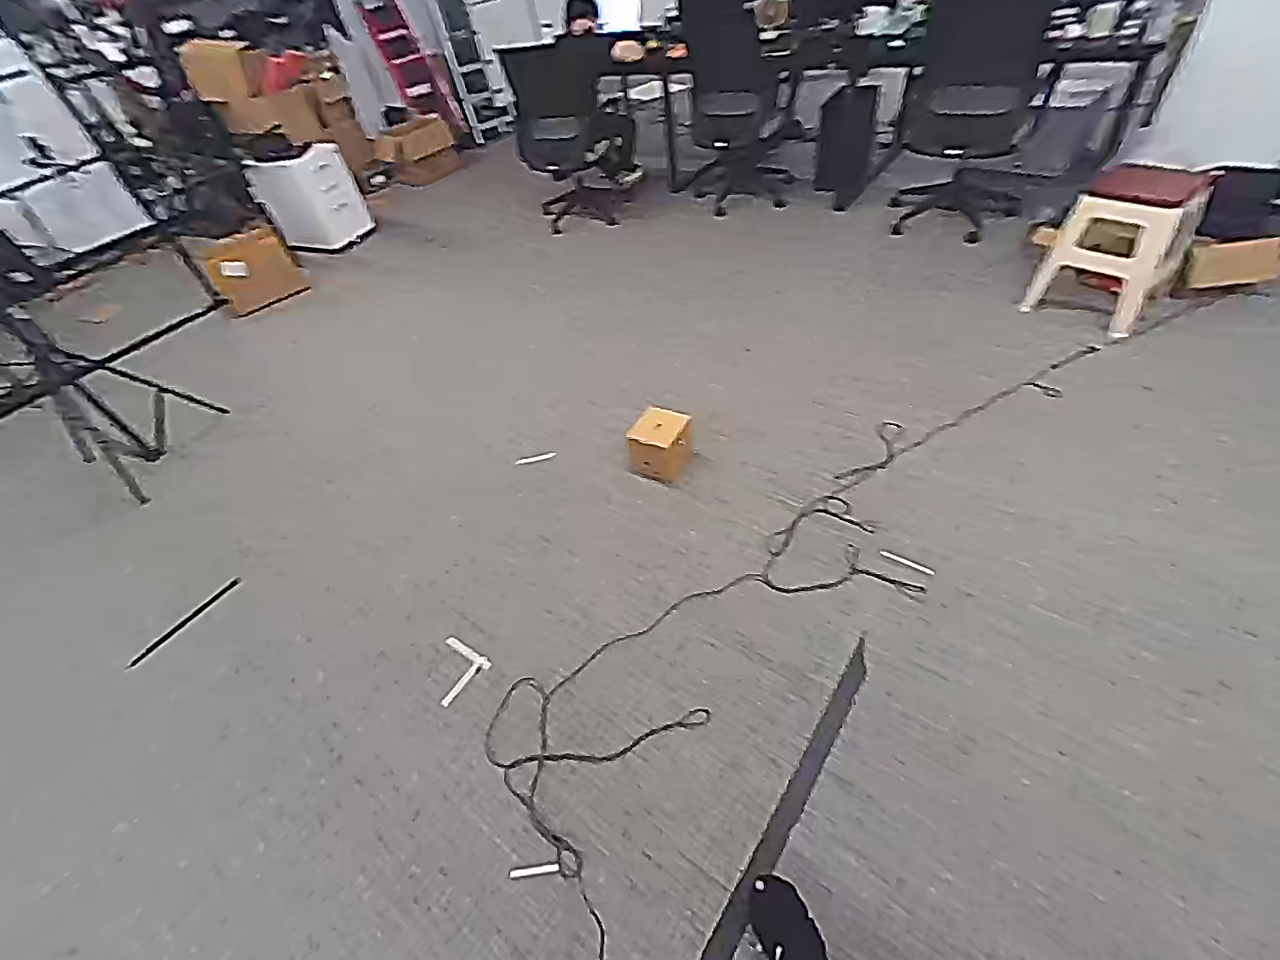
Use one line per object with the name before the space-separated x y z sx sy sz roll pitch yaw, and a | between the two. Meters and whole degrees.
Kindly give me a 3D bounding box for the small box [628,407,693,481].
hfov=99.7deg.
small box | 0.079 -0.127 1.916 0.168 0.176 0.179 18 53 26
